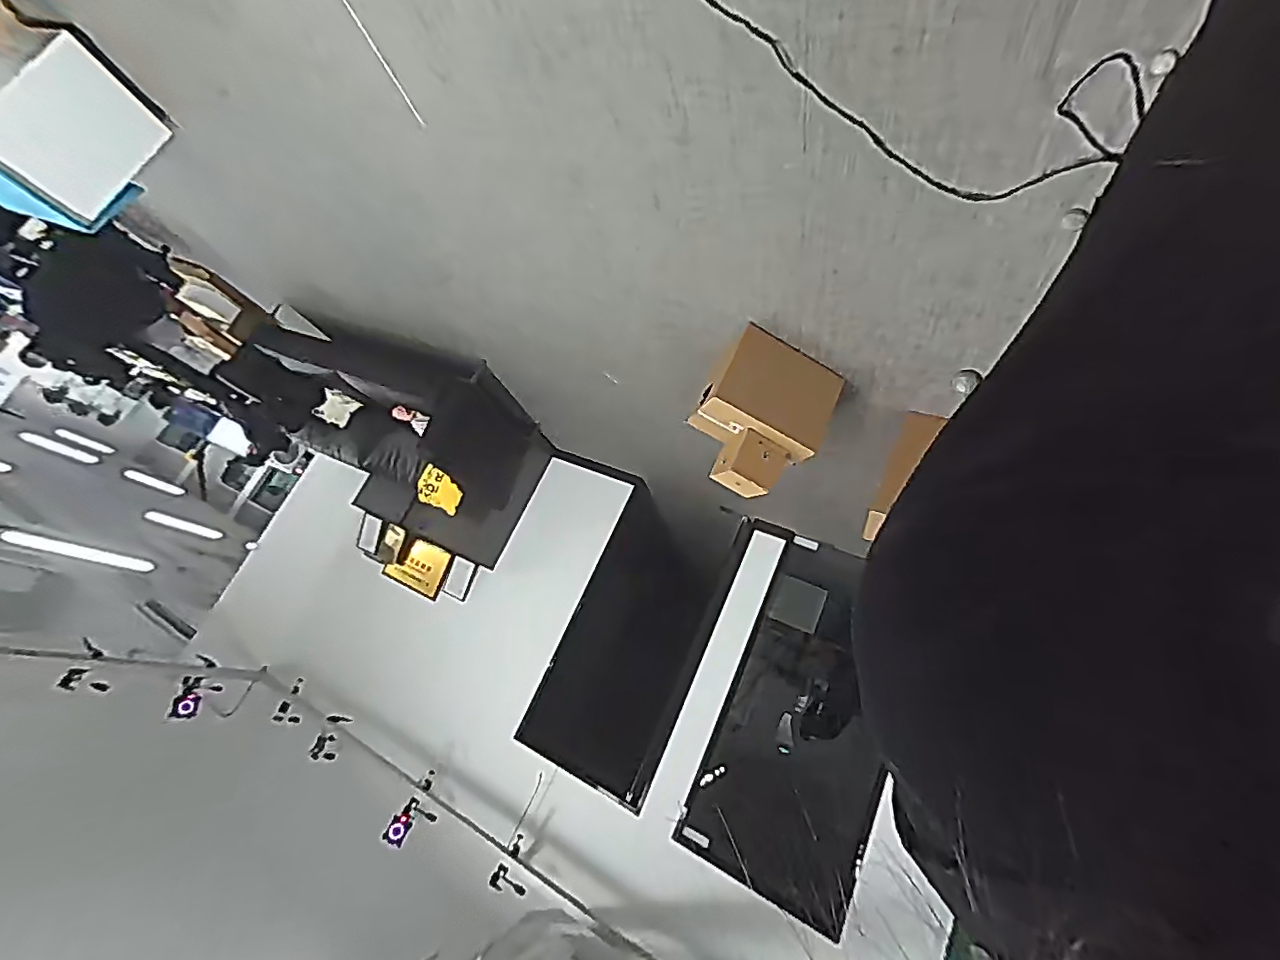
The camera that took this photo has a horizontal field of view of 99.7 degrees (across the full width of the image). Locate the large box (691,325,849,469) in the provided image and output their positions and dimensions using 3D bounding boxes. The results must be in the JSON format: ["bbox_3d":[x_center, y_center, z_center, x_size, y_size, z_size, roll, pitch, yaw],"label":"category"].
[{"bbox_3d":[0.462,-0.285,1.959,0.408,0.320,0.320,29,164,-6],"label":"large box"}]

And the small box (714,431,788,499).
[{"bbox_3d":[0.393,-0.052,1.910,0.168,0.176,0.179,29,166,-10],"label":"small box"}]
